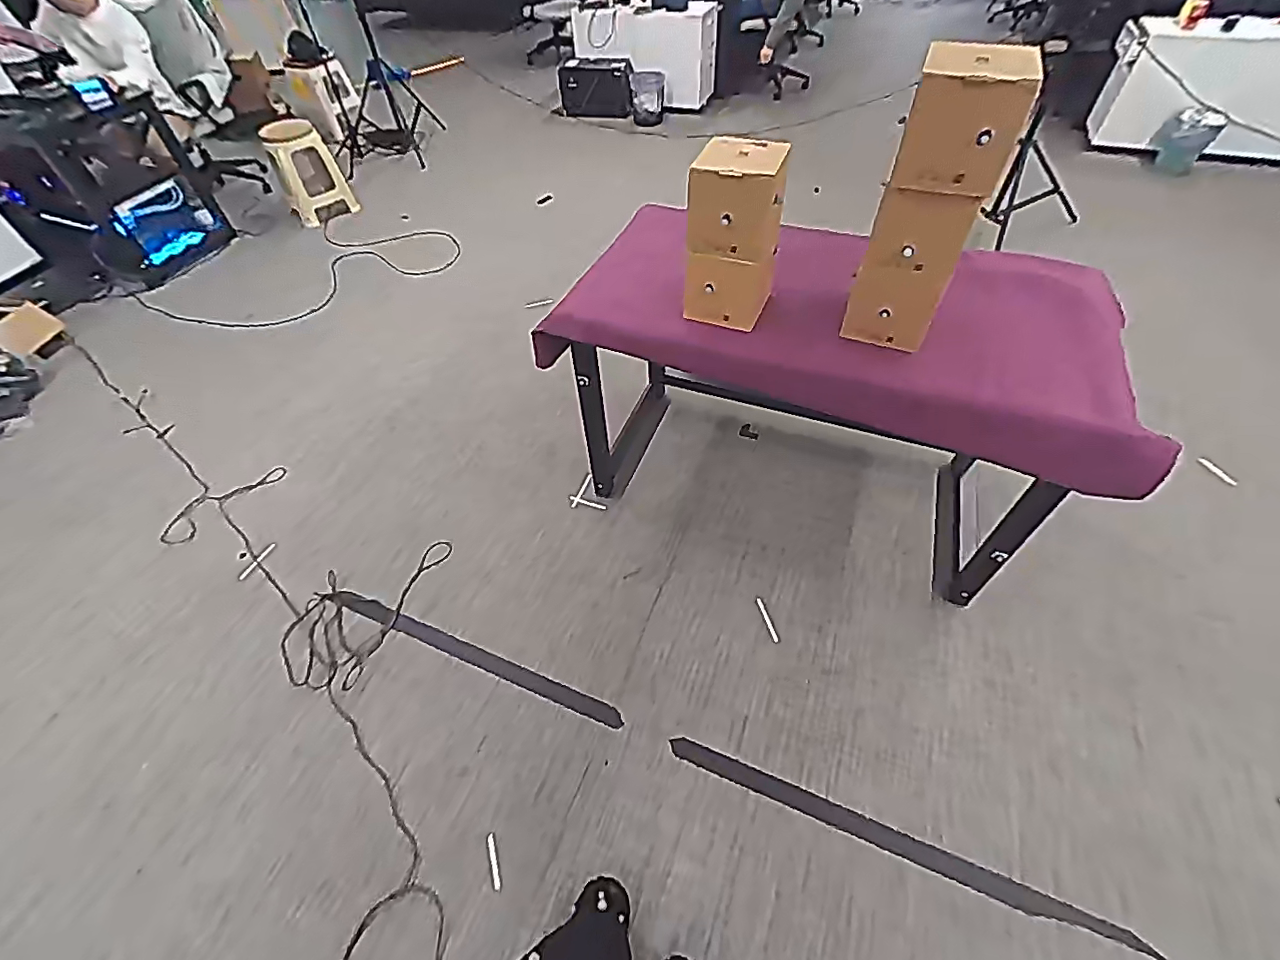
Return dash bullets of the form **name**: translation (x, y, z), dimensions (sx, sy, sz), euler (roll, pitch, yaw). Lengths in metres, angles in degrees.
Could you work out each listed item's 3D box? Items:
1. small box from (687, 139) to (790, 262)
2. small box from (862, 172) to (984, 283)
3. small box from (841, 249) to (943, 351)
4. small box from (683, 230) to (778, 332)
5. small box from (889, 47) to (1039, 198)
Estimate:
- **small box**: translation (0.199, -0.575, 1.117), dimensions (0.168, 0.176, 0.179), euler (15, 52, 14)
- **small box**: translation (0.546, -0.511, 1.045), dimensions (0.168, 0.176, 0.179), euler (18, 54, 17)
- **small box**: translation (0.548, -0.405, 1.170), dimensions (0.168, 0.176, 0.179), euler (19, 54, 17)
- **small box**: translation (0.204, -0.465, 1.238), dimensions (0.168, 0.176, 0.179), euler (17, 52, 16)
- **small box**: translation (0.533, -0.597, 0.906), dimensions (0.168, 0.176, 0.179), euler (16, 53, 15)
